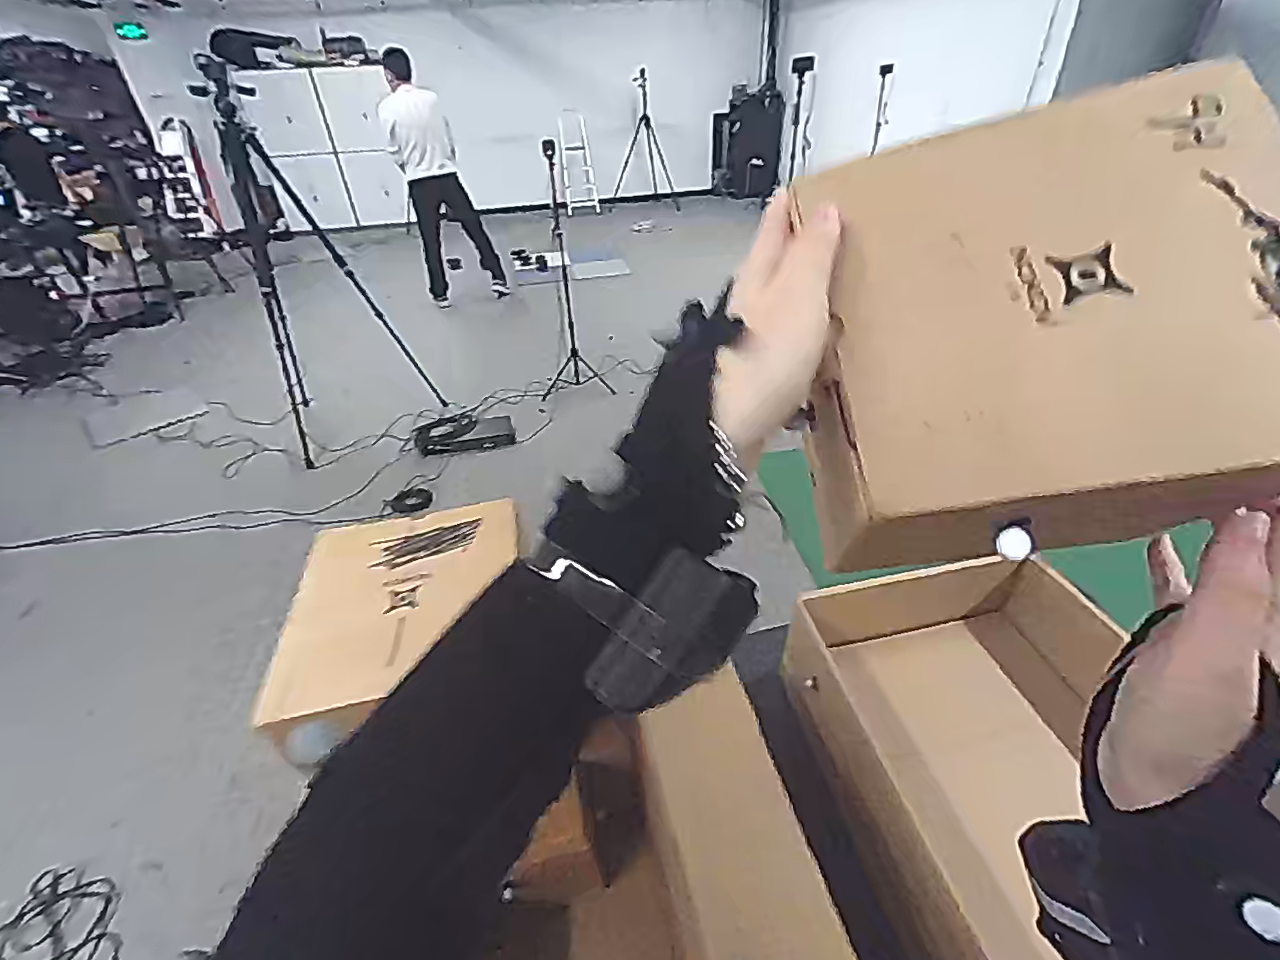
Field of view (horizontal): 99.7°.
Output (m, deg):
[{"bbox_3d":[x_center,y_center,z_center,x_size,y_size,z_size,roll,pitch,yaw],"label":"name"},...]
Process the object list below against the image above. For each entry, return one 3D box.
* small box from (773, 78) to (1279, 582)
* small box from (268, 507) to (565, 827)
[{"bbox_3d":[0.172,-0.045,0.279,0.179,0.176,0.168,-9,71,12],"label":"small box"},{"bbox_3d":[-0.160,0.151,0.454,0.168,0.176,0.179,-10,40,-6],"label":"small box"}]
